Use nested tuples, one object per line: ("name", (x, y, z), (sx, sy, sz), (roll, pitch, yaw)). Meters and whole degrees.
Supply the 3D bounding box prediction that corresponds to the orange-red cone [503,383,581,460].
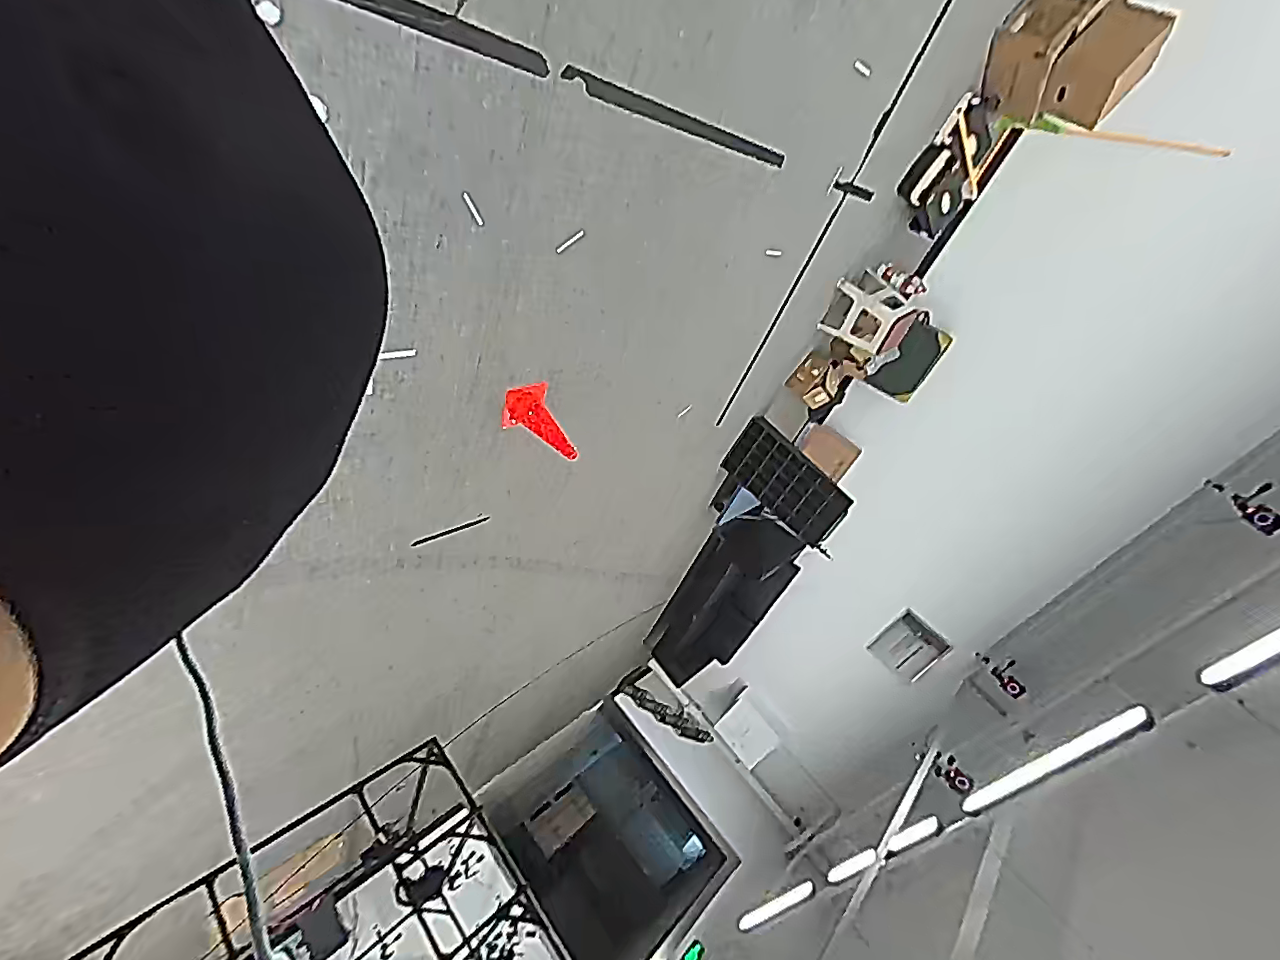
("orange-red cone", (-0.362, -0.205, 2.187), (0.199, 0.360, 0.198), (-25, 149, -41))
